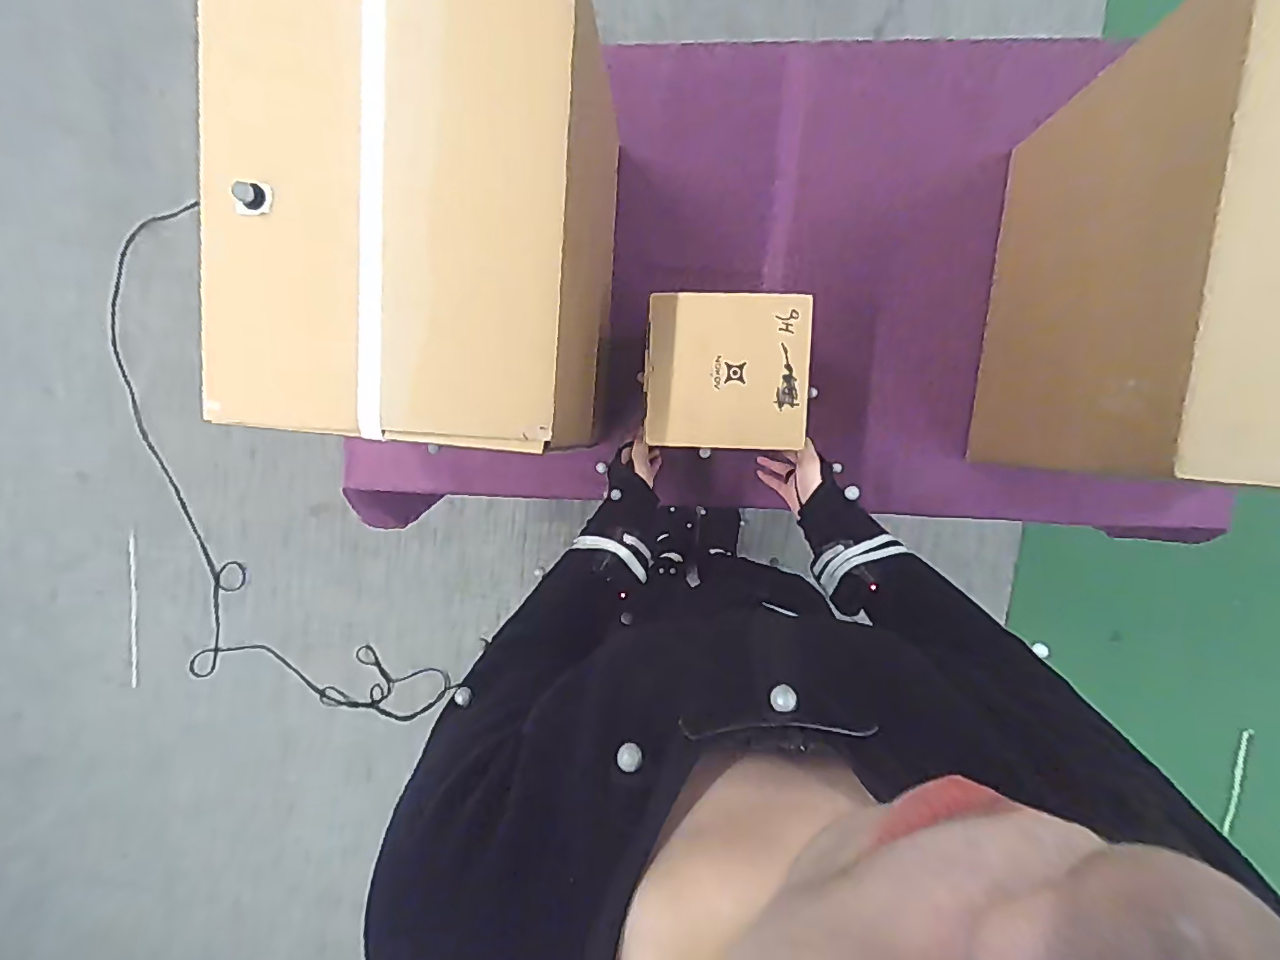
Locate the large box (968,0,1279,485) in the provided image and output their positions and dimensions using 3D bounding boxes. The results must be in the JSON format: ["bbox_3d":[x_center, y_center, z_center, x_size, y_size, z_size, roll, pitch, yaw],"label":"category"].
[{"bbox_3d":[0.596,-0.205,0.557,0.320,0.320,0.408,6,96,3],"label":"large box"}]
